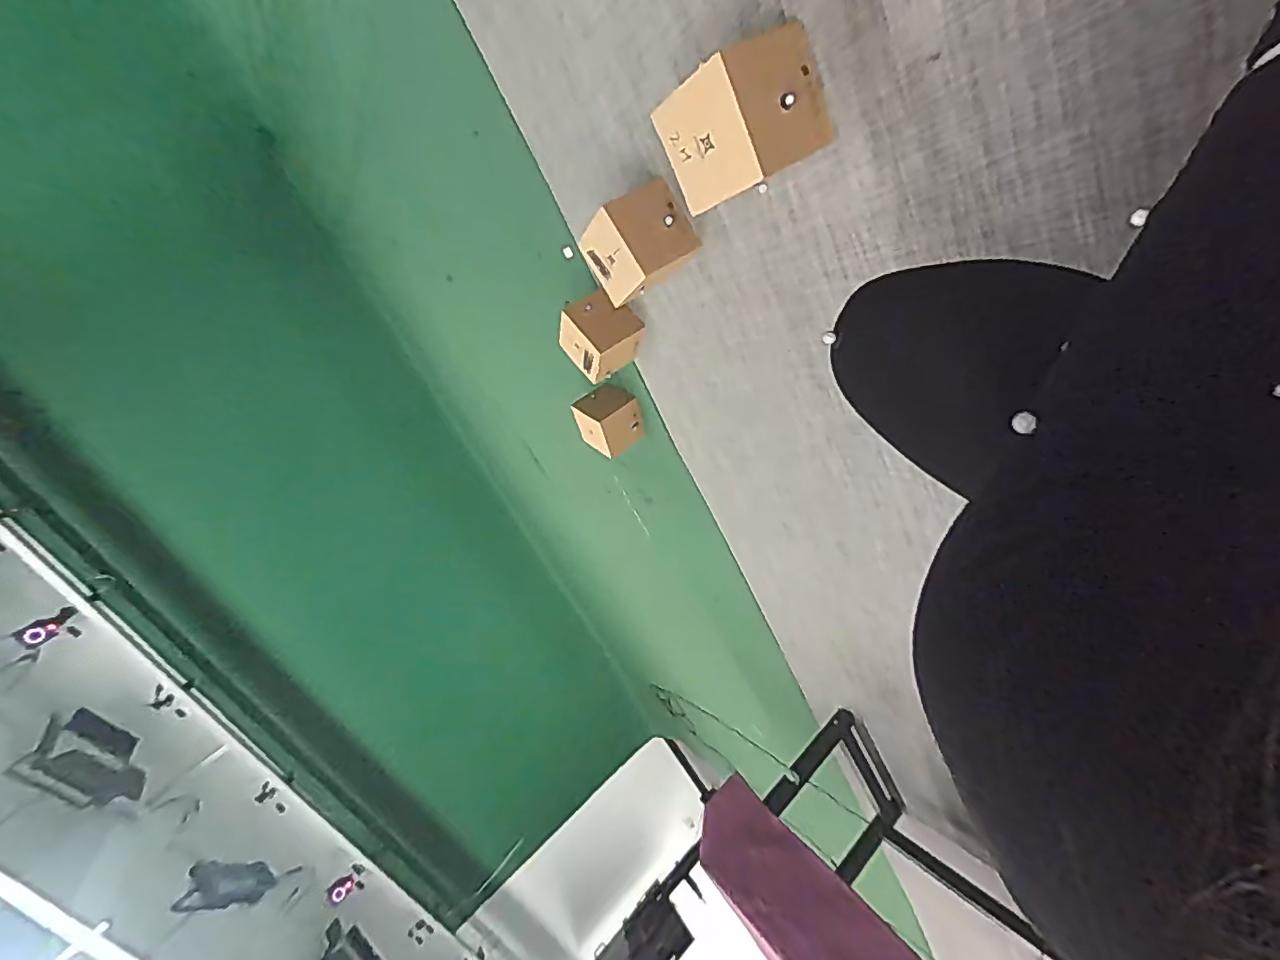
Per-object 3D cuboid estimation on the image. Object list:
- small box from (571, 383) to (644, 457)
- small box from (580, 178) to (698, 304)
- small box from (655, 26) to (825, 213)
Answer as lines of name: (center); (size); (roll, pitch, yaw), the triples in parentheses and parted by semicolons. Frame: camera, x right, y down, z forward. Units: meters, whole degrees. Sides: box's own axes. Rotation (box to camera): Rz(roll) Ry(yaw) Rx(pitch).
small box: (-0.110, -0.216, 1.890); (0.179, 0.176, 0.168); (34, 152, 40)
small box: (-0.002, -0.525, 1.196); (0.168, 0.176, 0.179); (57, 157, -10)
small box: (0.160, -0.549, 0.833); (0.179, 0.176, 0.168); (12, 134, 59)
